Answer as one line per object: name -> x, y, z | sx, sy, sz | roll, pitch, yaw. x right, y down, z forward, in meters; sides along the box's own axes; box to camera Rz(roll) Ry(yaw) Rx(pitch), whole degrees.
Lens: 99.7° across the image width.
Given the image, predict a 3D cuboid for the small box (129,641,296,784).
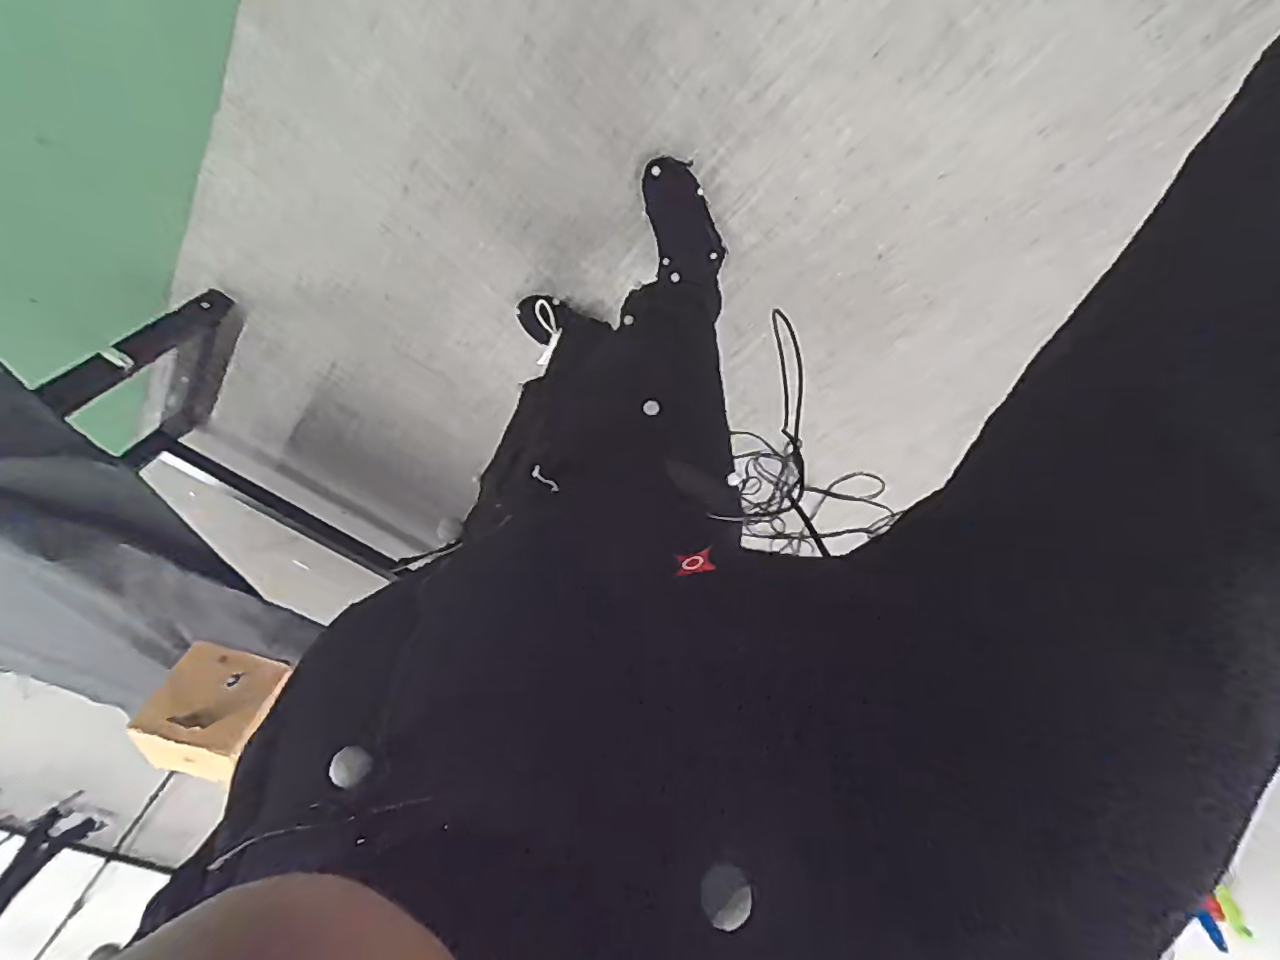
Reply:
small box -> -0.768, 0.428, 0.999 | 0.168, 0.176, 0.179 | 19, 132, -7
